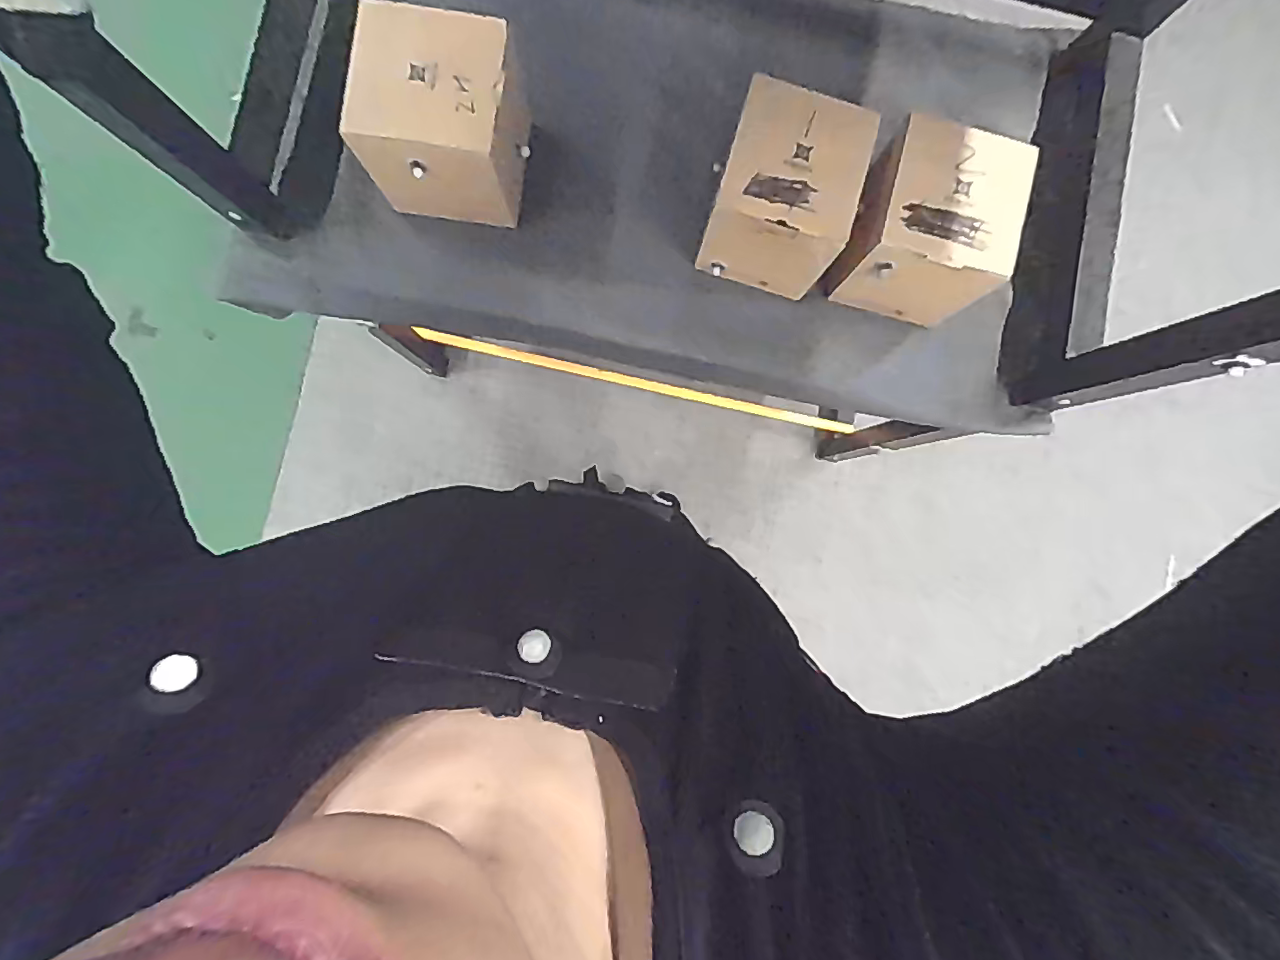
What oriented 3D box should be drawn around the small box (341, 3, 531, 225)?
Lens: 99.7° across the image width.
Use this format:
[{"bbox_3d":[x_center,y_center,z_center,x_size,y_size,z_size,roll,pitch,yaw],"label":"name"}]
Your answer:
[{"bbox_3d":[-0.252,-0.461,0.708,0.179,0.176,0.168,7,87,-3],"label":"small box"}]
